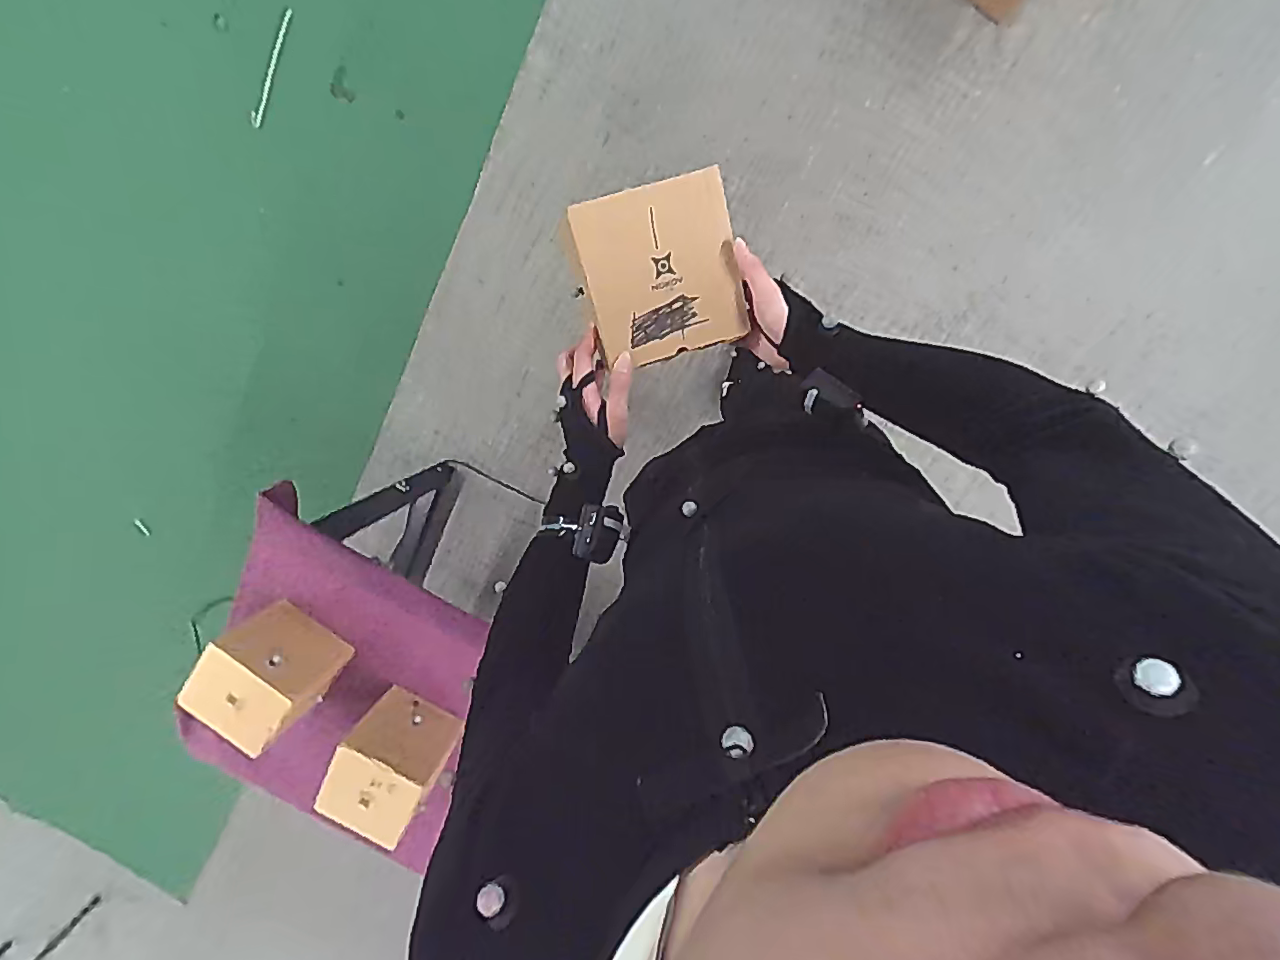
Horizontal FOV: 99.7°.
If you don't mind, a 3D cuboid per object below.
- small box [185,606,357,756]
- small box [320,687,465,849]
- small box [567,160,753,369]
[{"bbox_3d":[-0.687,0.365,1.023,0.179,0.176,0.168,38,107,-4],"label":"small box"},{"bbox_3d":[-0.463,0.542,1.036,0.168,0.176,0.179,29,107,0],"label":"small box"},{"bbox_3d":[0.016,-0.246,0.639,0.168,0.176,0.179,-17,109,-5],"label":"small box"}]
